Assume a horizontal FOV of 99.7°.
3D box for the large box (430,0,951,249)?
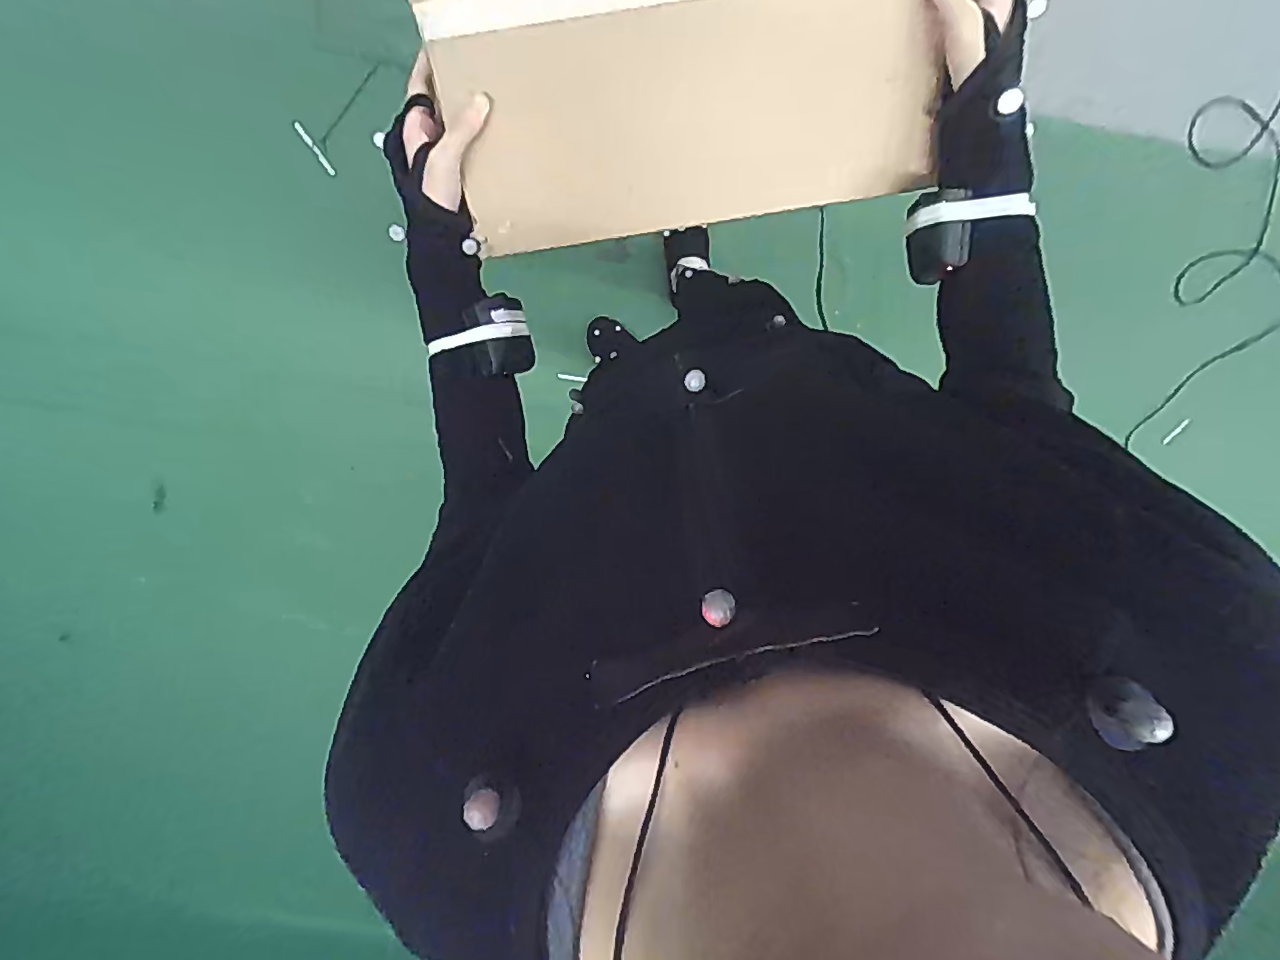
[{"bbox_3d":[0.033,-0.439,0.532,0.408,0.320,0.320,-8,120,-1],"label":"large box"}]
